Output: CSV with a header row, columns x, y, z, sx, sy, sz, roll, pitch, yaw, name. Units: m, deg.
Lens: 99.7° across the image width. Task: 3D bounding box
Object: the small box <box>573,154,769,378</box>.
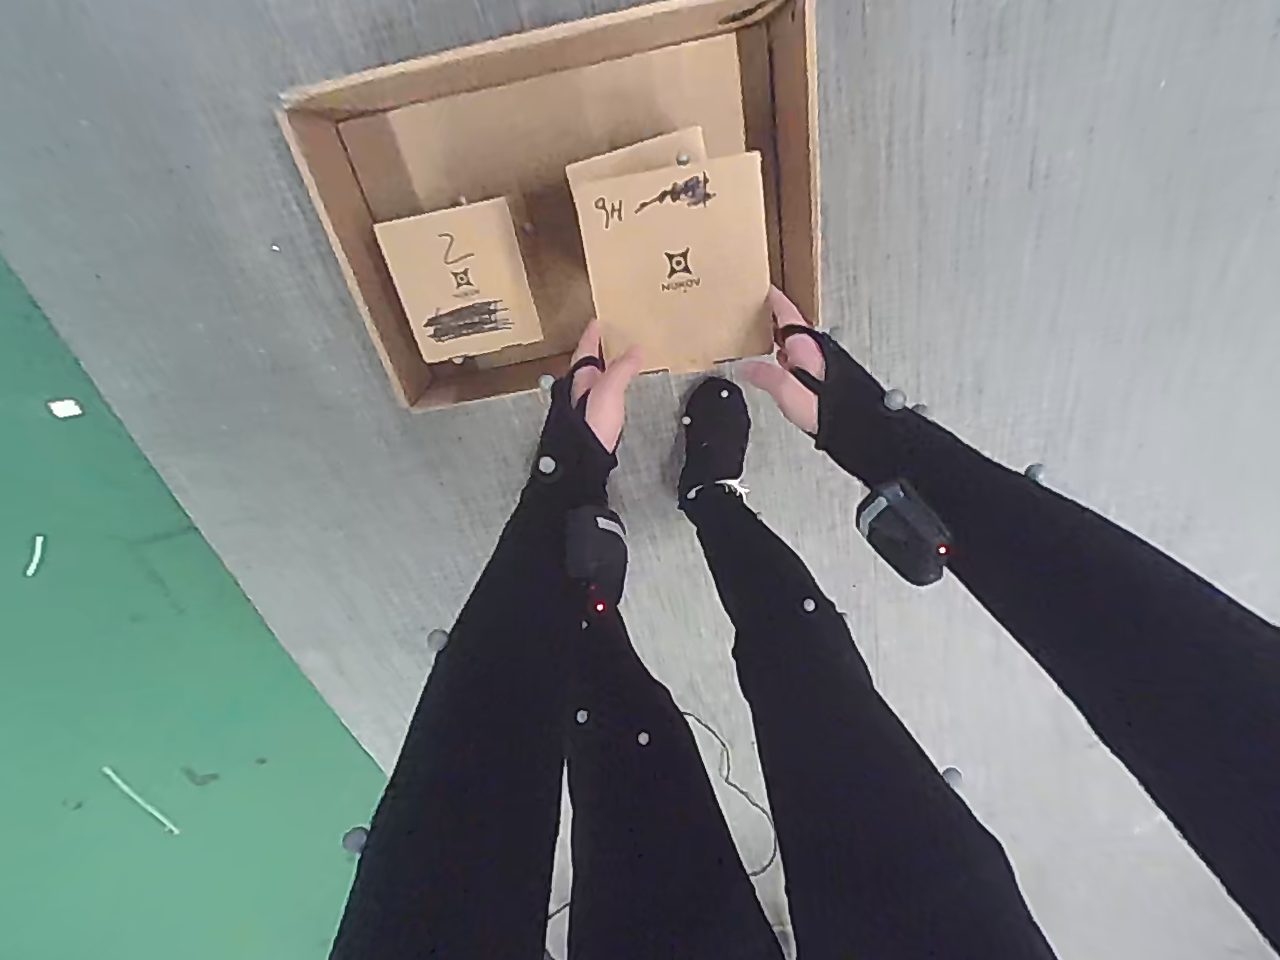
x,y,z,sx,sy,sz,roll,pitch,yaw,name
0.035,-0.219,0.571,0.168,0.176,0.179,-8,111,4,small box
